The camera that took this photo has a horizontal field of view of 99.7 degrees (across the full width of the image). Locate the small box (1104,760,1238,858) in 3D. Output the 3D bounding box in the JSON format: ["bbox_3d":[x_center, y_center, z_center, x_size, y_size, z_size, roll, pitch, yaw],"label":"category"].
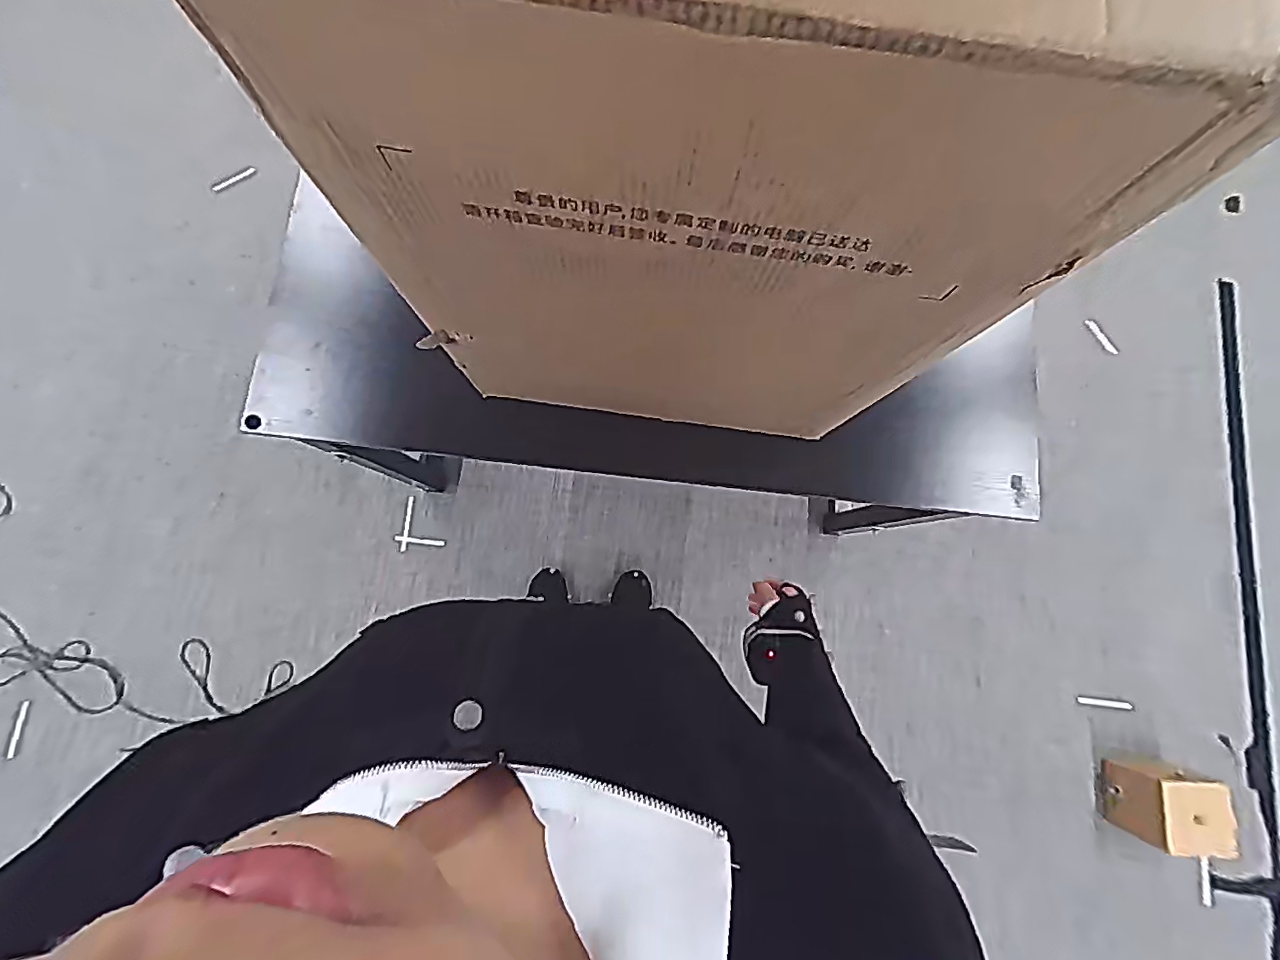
[{"bbox_3d":[1.349,0.833,1.383,0.179,0.176,0.168,3,80,-1],"label":"small box"}]
